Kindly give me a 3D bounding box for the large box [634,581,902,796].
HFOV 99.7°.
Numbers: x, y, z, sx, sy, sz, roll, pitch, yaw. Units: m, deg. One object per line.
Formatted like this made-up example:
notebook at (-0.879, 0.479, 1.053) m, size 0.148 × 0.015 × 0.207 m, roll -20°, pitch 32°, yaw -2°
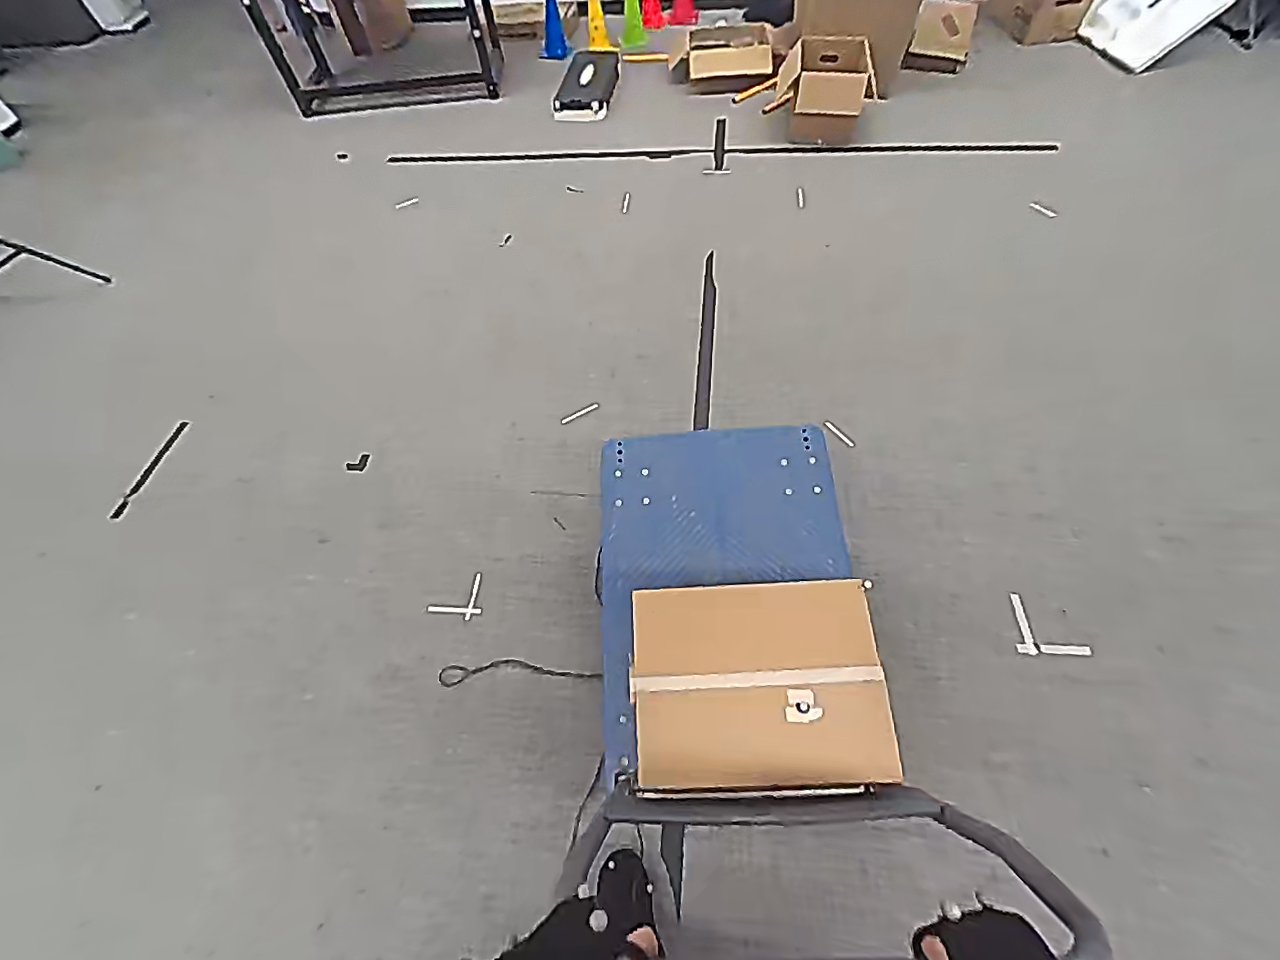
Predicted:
large box at (0.204, 0.392, 1.021) m, size 0.408 × 0.320 × 0.320 m, roll -4°, pitch 67°, yaw 3°
